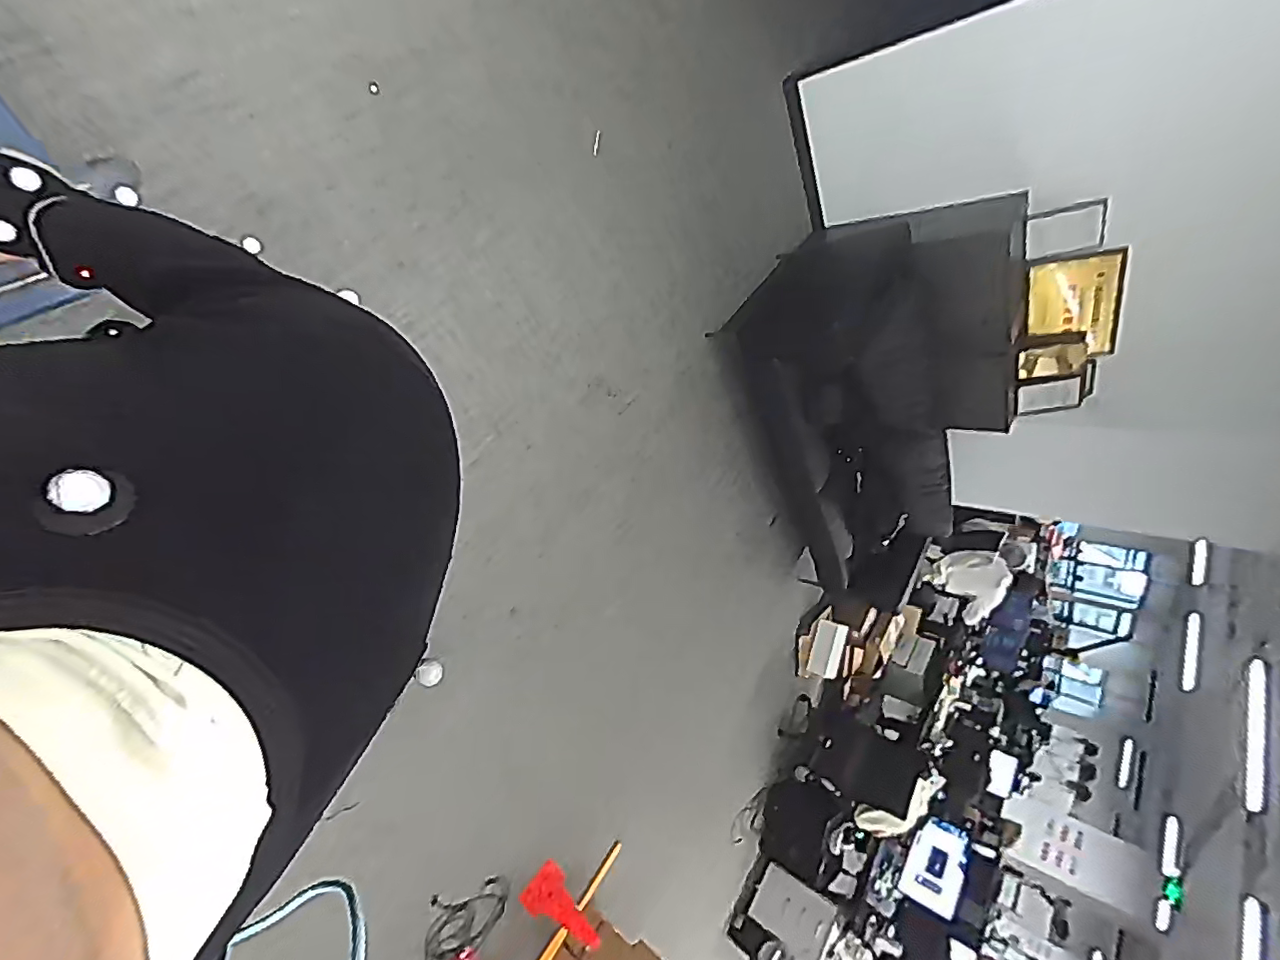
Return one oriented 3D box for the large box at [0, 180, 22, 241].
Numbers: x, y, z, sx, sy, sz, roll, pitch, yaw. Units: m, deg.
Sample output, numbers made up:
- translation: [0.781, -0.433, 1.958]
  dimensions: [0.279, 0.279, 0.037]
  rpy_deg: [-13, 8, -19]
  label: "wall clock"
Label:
- translation: [-1.132, -0.470, 0.668]
  dimensions: [0.320, 0.320, 0.408]
  rpy_deg: [-45, 128, -32]
  label: "large box"
